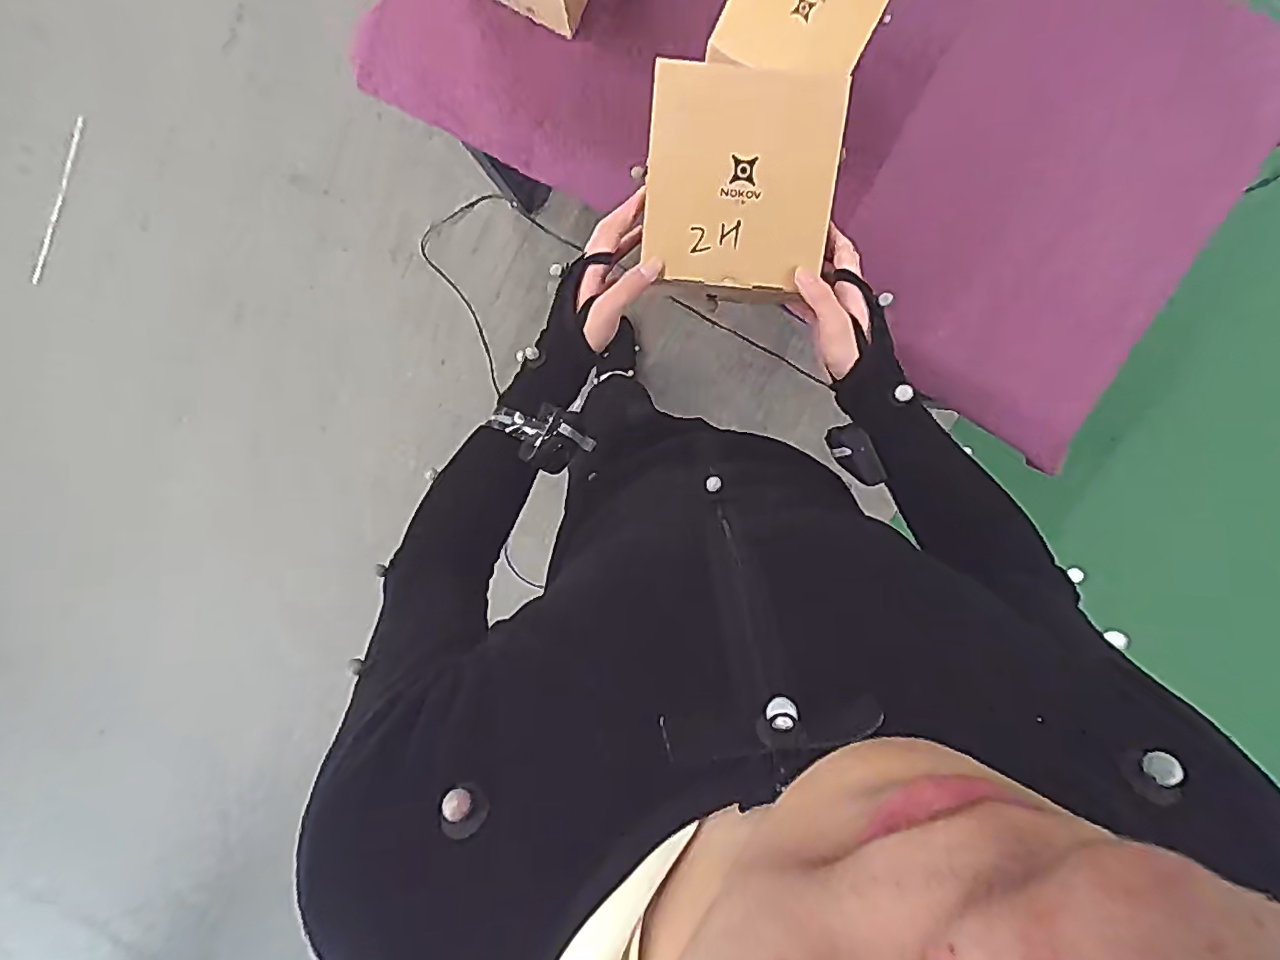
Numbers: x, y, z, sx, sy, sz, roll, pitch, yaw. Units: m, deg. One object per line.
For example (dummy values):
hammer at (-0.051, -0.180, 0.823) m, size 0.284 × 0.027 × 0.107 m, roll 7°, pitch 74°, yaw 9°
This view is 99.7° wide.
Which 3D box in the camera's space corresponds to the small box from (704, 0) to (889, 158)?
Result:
small box at (0.192, -0.555, 0.689) m, size 0.168 × 0.176 × 0.179 m, roll 26°, pitch 99°, yaw -4°

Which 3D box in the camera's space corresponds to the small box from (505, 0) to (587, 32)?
small box at (-0.130, -0.716, 0.657) m, size 0.168 × 0.176 × 0.179 m, roll 25°, pitch 100°, yaw -4°
